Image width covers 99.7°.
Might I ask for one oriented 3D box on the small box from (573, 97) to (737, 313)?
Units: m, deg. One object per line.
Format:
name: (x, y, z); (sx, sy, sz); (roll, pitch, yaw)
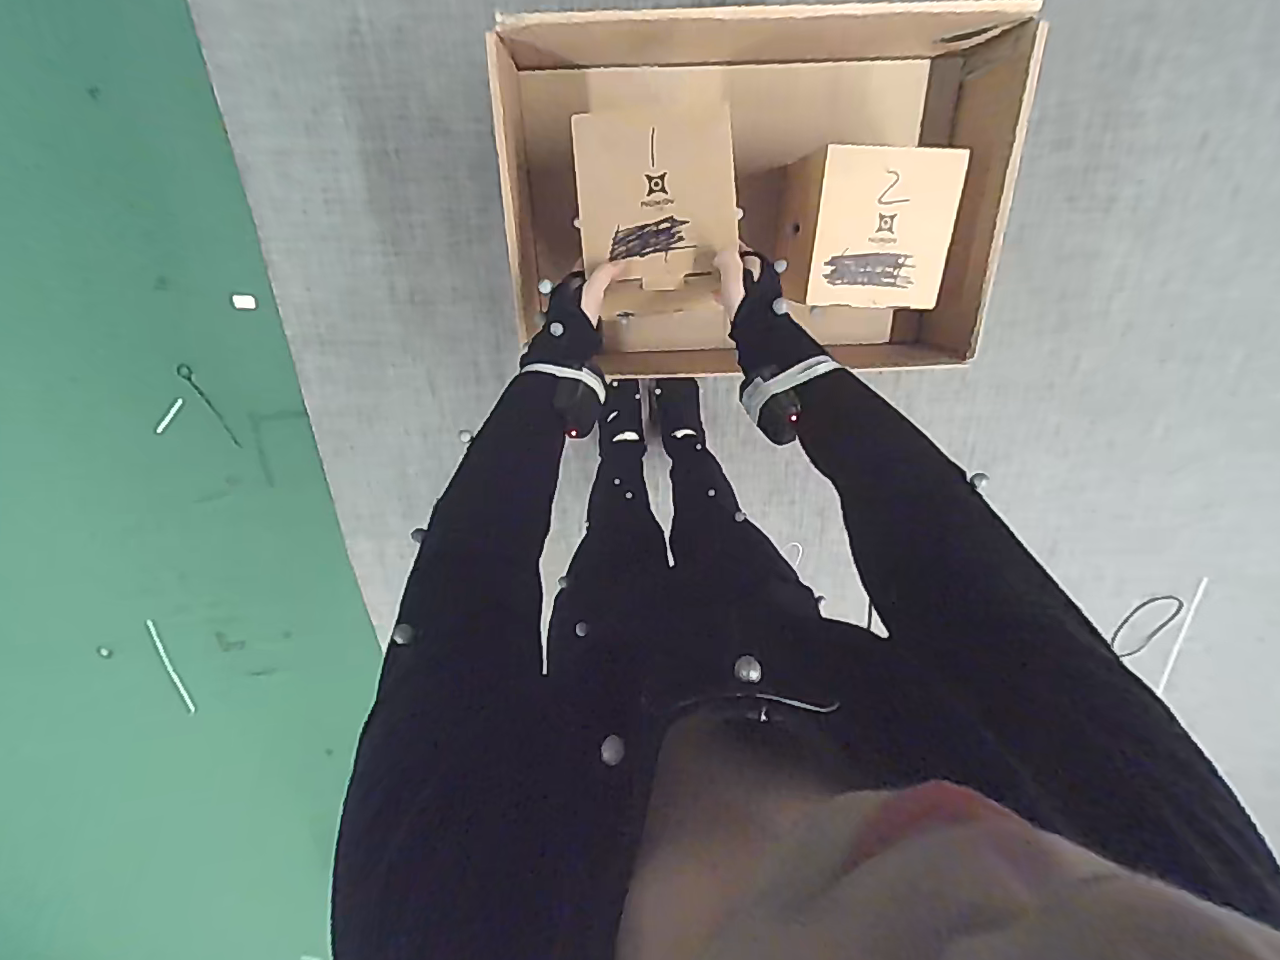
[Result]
small box: (0.022, -0.306, 0.643); (0.168, 0.176, 0.179); (-4, 93, 4)
